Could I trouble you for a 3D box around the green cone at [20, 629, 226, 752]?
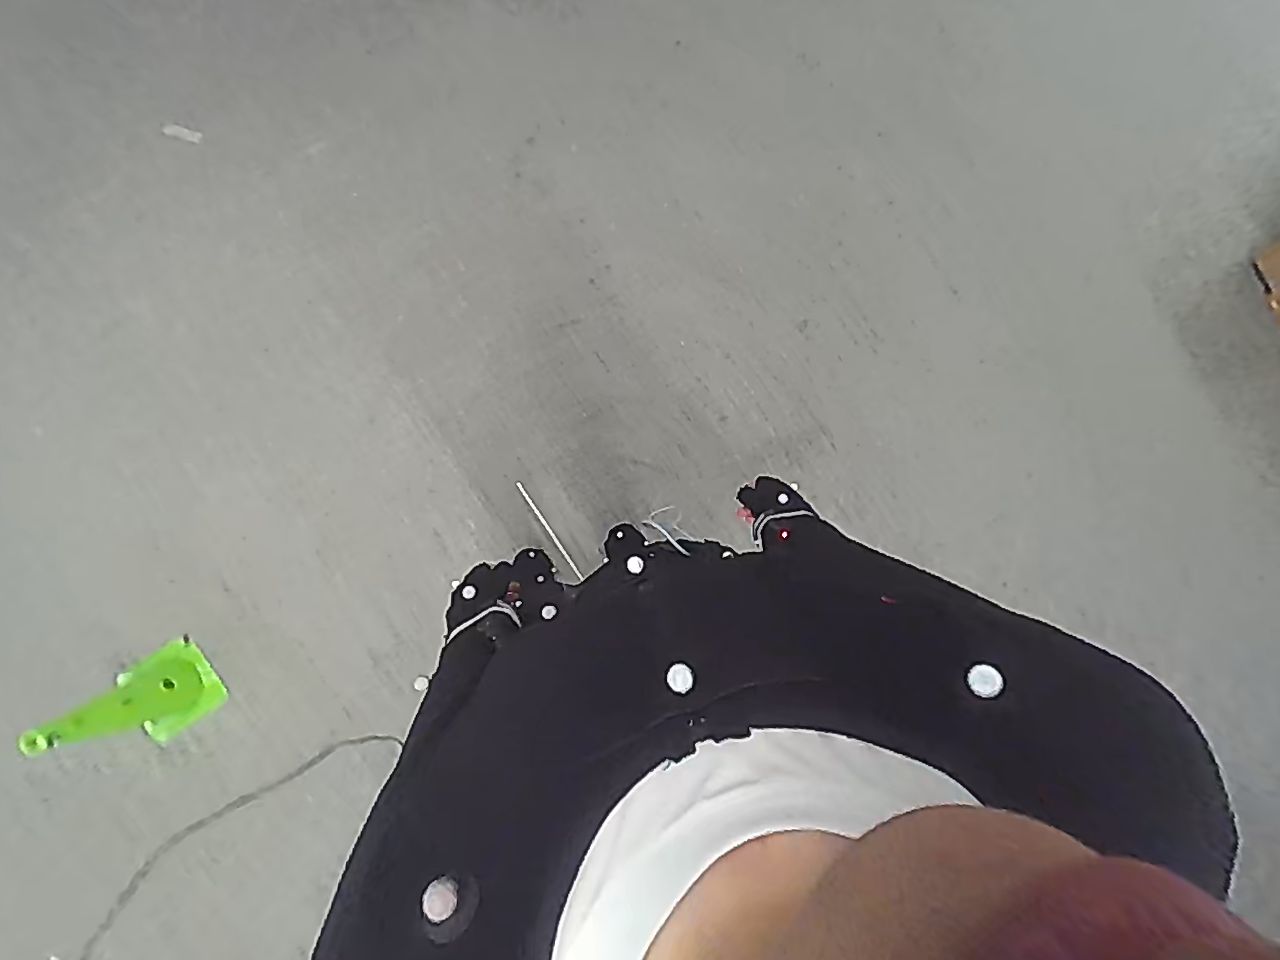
[{"bbox_3d":[-1.153,0.491,1.177,0.200,0.368,0.202,-35,91,-7],"label":"green cone"}]
